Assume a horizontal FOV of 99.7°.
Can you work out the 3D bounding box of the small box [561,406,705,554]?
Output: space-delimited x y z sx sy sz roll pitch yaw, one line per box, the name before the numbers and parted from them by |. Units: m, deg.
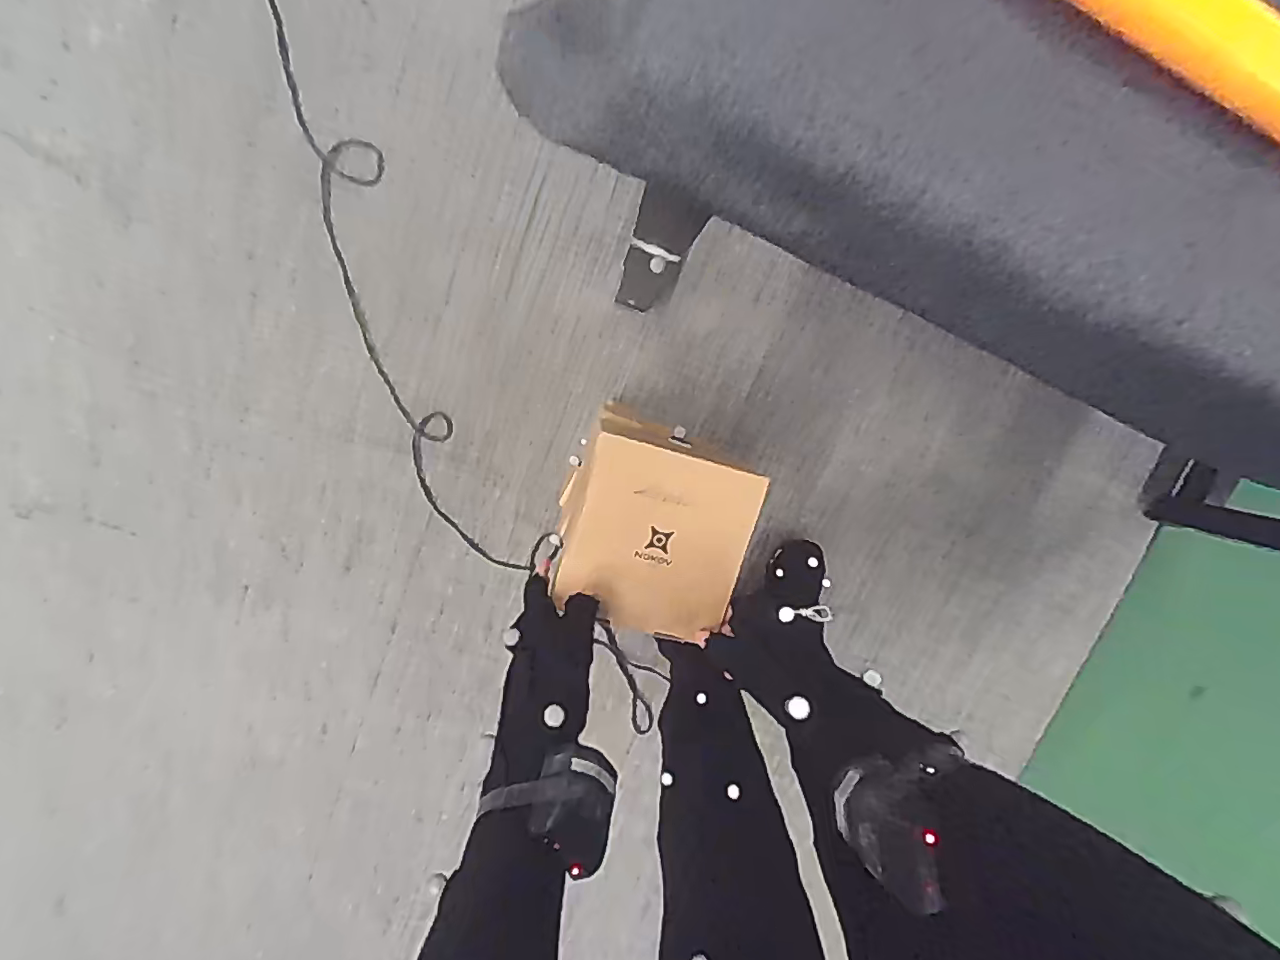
small box | -0.017 -0.011 0.899 0.168 0.176 0.179 28 98 -9
